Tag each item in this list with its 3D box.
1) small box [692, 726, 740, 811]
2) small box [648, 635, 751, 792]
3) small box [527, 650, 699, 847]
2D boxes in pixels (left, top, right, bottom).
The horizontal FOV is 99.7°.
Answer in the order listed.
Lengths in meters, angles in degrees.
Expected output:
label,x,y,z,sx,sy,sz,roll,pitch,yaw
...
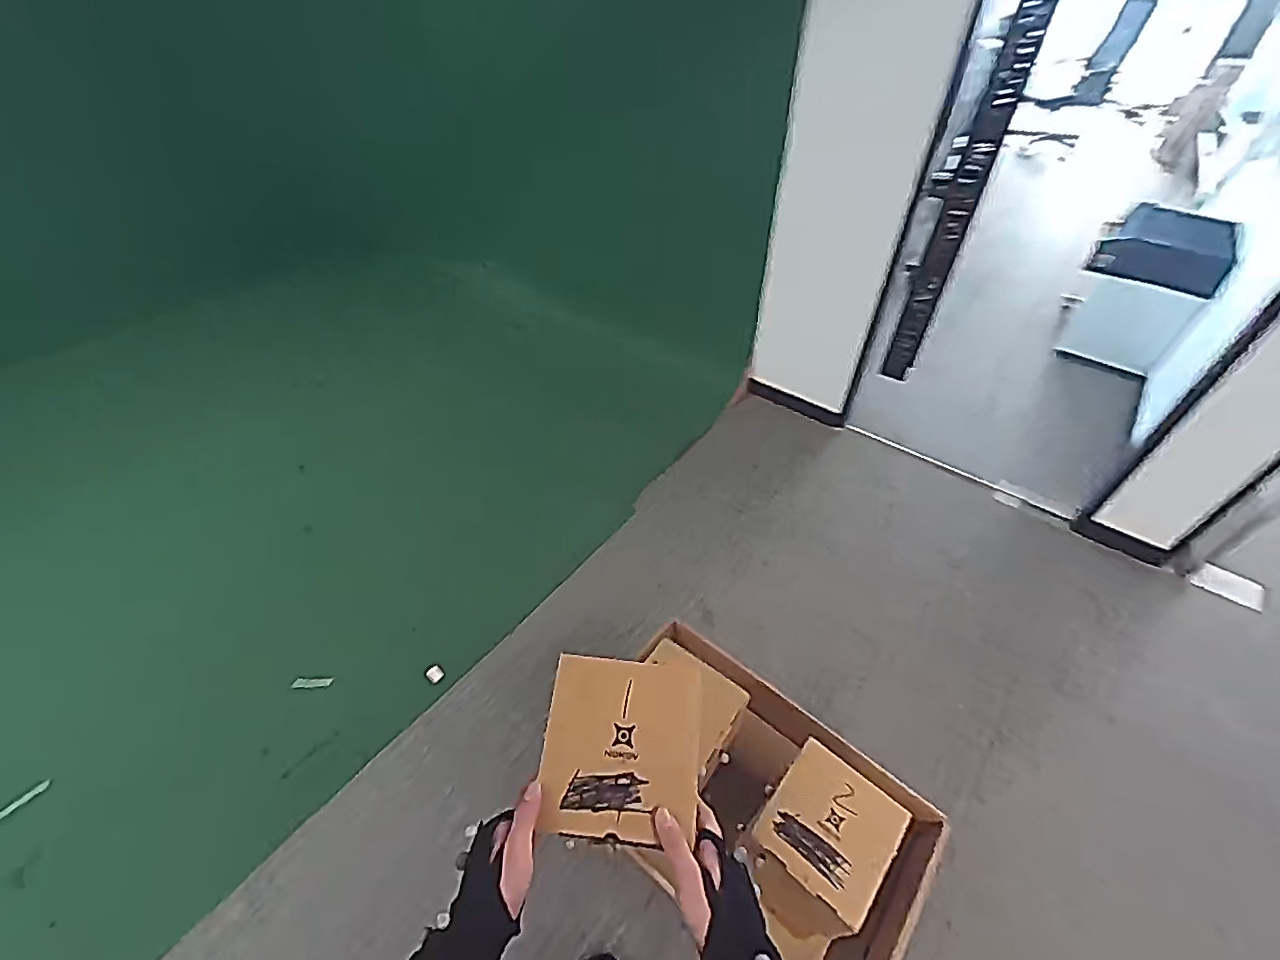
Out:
label,x,y,z,sx,sy,sz,roll,pitch,yaw
small box,0.070,0.522,1.061,0.179,0.176,0.168,32,55,25
small box,0.067,0.412,0.940,0.179,0.176,0.168,30,55,24
small box,-0.024,0.317,0.637,0.168,0.176,0.179,5,56,2
